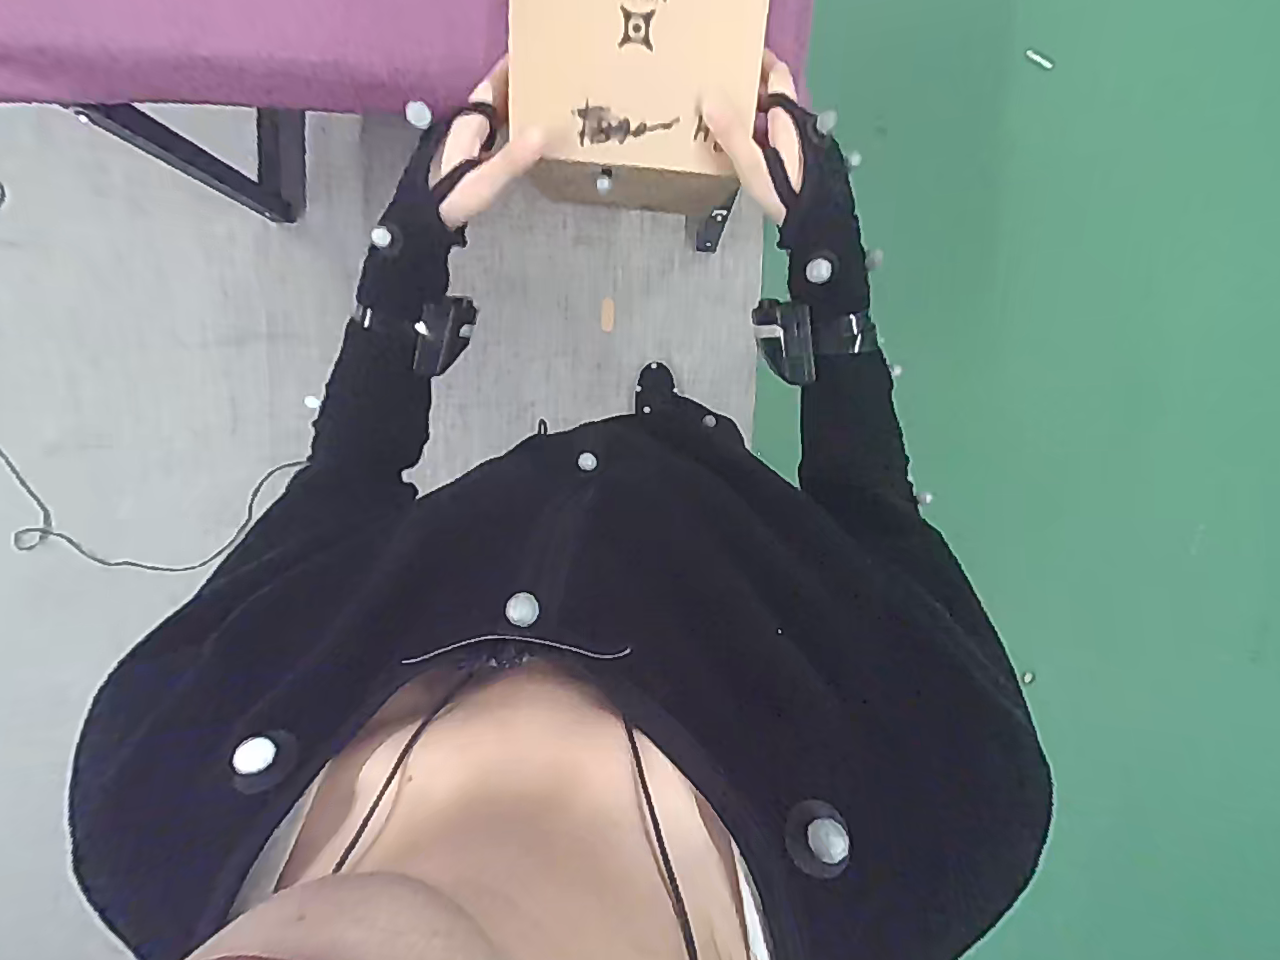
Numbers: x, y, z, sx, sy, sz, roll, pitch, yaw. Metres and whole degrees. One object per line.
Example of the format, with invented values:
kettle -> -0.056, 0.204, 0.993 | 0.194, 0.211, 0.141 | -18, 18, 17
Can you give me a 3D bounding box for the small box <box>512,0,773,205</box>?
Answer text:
small box -> 0.000, -0.332, 0.419 | 0.168, 0.176, 0.179 | 5, 108, -3
